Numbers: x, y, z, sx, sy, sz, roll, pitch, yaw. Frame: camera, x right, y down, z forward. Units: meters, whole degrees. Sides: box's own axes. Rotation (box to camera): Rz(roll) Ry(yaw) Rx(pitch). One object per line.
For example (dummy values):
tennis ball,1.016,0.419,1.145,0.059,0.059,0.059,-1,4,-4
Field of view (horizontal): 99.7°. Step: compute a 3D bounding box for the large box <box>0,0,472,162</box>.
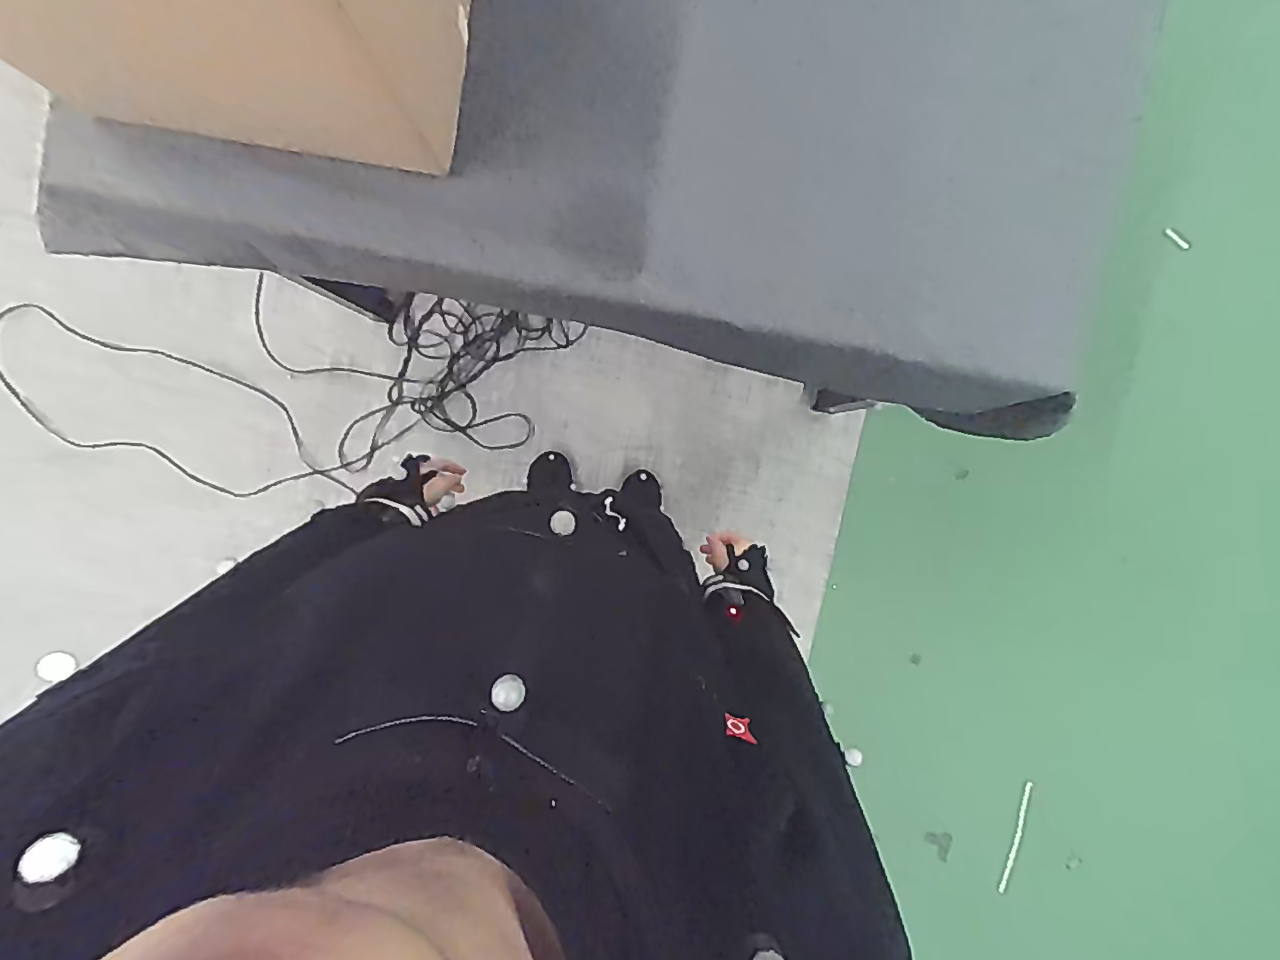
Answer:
large box,-0.378,-0.520,0.444,0.408,0.320,0.320,8,93,-4
